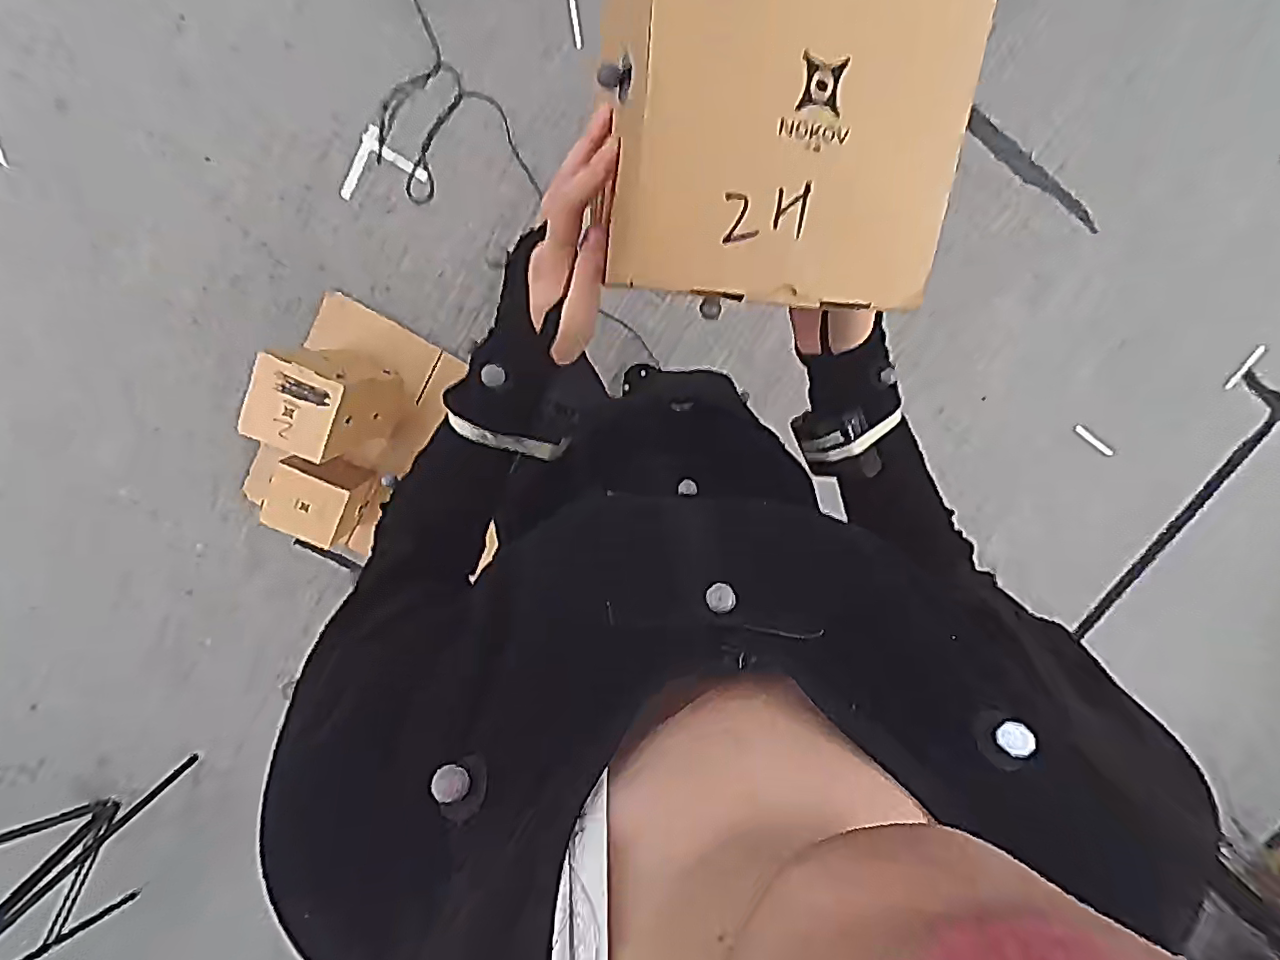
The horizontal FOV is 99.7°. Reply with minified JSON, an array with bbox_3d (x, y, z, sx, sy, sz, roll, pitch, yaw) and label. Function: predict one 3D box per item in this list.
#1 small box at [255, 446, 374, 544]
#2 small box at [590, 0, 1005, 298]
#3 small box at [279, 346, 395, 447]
[{"bbox_3d":[-0.803,0.029,1.347,0.179,0.176,0.168,24,104,-11],"label":"small box"},{"bbox_3d":[0.065,-0.208,0.316,0.168,0.176,0.179,1,111,-13],"label":"small box"},{"bbox_3d":[-0.708,-0.206,1.285,0.168,0.176,0.179,25,103,-11],"label":"small box"}]
